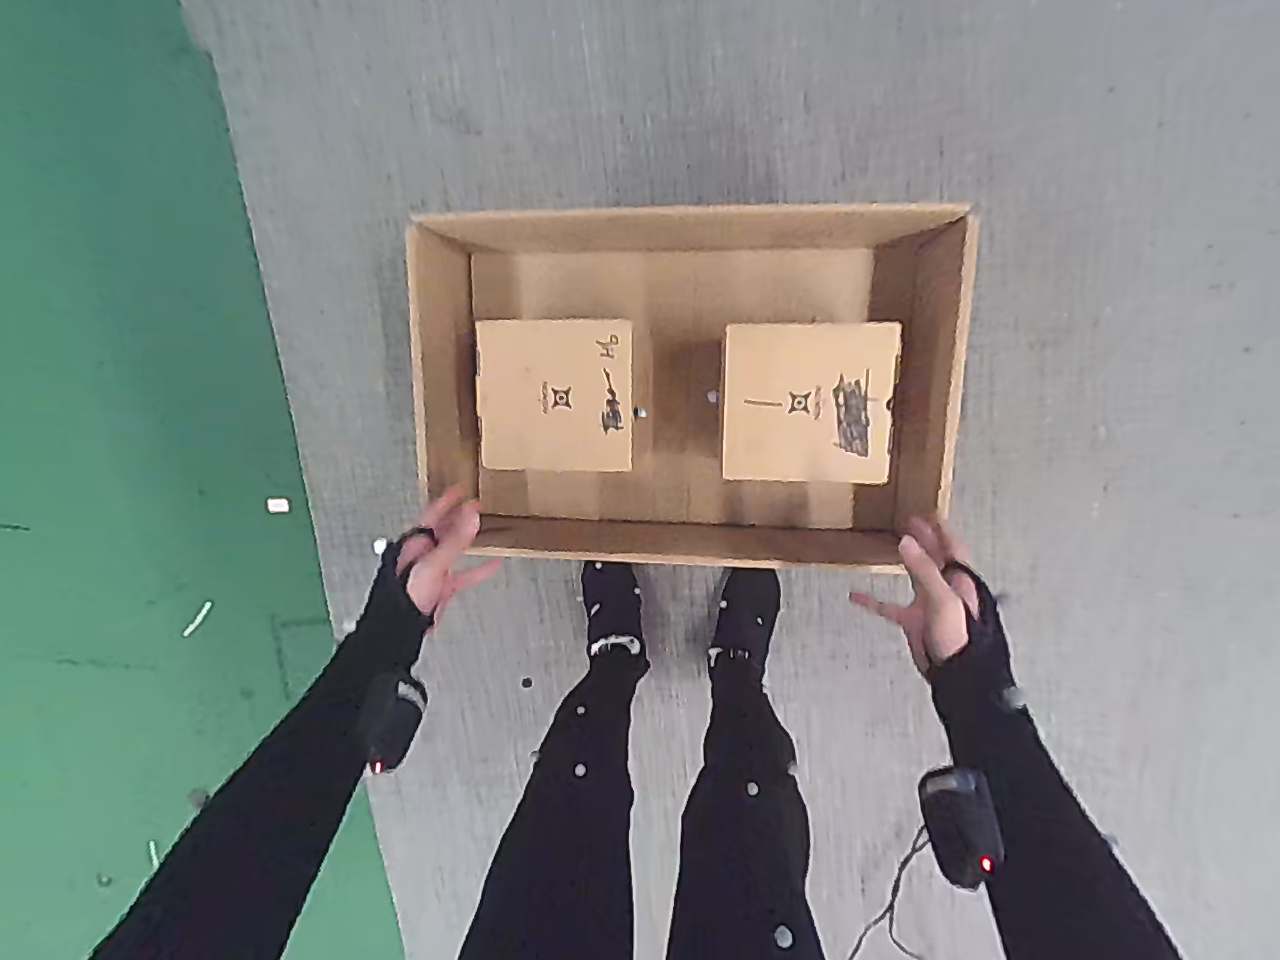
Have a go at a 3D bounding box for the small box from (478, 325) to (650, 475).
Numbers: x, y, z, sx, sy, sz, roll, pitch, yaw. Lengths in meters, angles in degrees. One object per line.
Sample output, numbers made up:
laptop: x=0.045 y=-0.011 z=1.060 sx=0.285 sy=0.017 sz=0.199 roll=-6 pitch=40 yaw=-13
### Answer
small box: x=-0.086 y=-0.100 z=0.682 sx=0.179 sy=0.176 sz=0.168 roll=2 pitch=99 yaw=8
